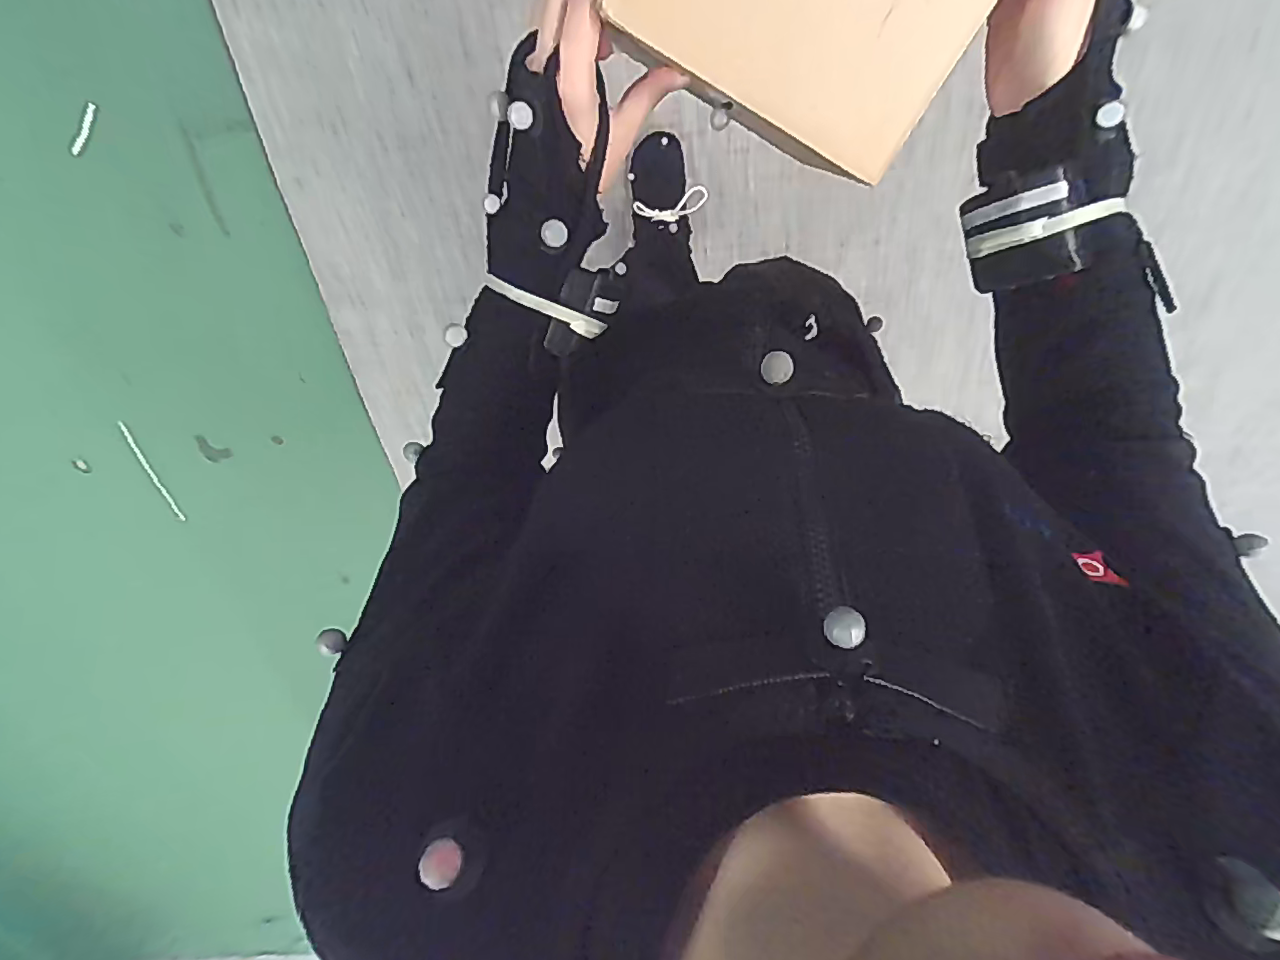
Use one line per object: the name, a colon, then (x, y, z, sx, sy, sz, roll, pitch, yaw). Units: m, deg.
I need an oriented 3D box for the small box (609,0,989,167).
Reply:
small box: (0.091, -0.307, 0.306, 0.179, 0.176, 0.168, 22, 122, -14)
